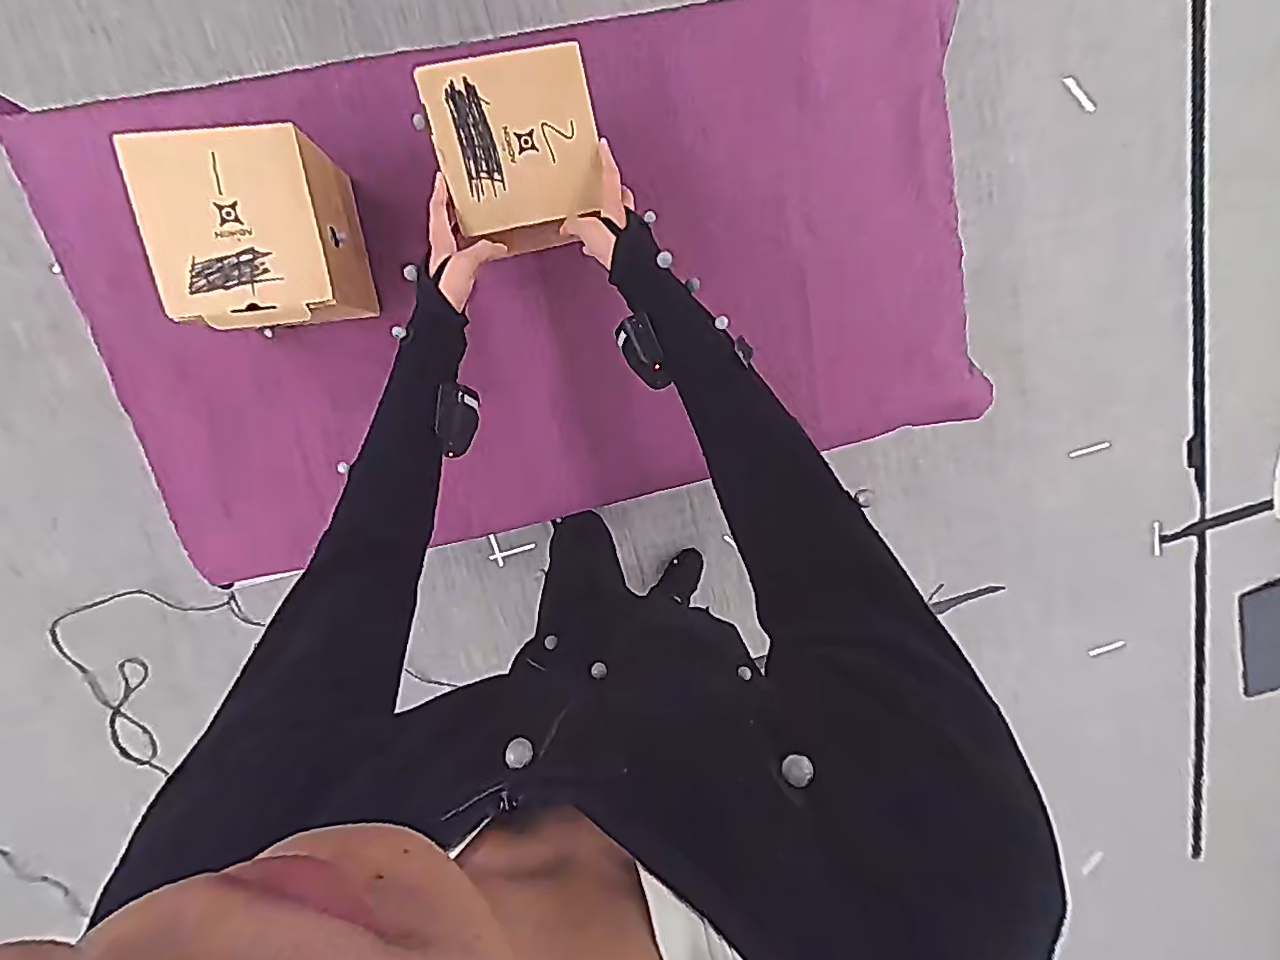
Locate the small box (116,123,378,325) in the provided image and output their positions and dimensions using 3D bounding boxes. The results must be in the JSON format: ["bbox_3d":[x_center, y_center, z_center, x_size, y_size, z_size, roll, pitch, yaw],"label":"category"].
[{"bbox_3d":[-0.424,-0.277,0.623,0.168,0.176,0.179,-10,104,-8],"label":"small box"}]
